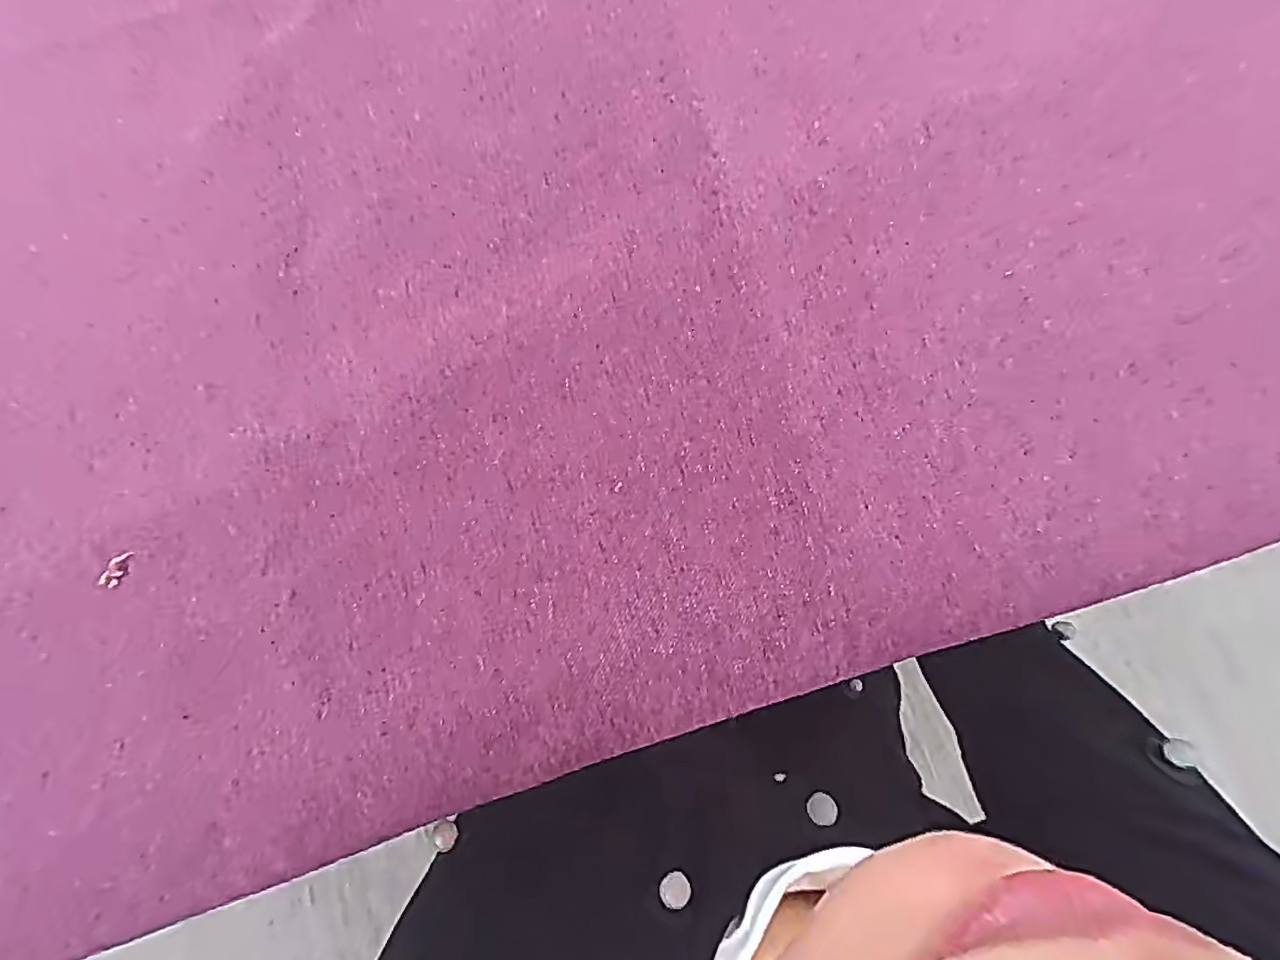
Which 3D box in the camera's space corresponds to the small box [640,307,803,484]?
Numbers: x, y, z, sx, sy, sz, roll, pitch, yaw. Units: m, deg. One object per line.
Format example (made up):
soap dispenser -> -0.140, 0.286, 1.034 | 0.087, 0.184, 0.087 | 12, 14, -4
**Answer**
small box -> 0.103, -0.107, 0.757 | 0.168, 0.176, 0.179 | -18, 82, 0
